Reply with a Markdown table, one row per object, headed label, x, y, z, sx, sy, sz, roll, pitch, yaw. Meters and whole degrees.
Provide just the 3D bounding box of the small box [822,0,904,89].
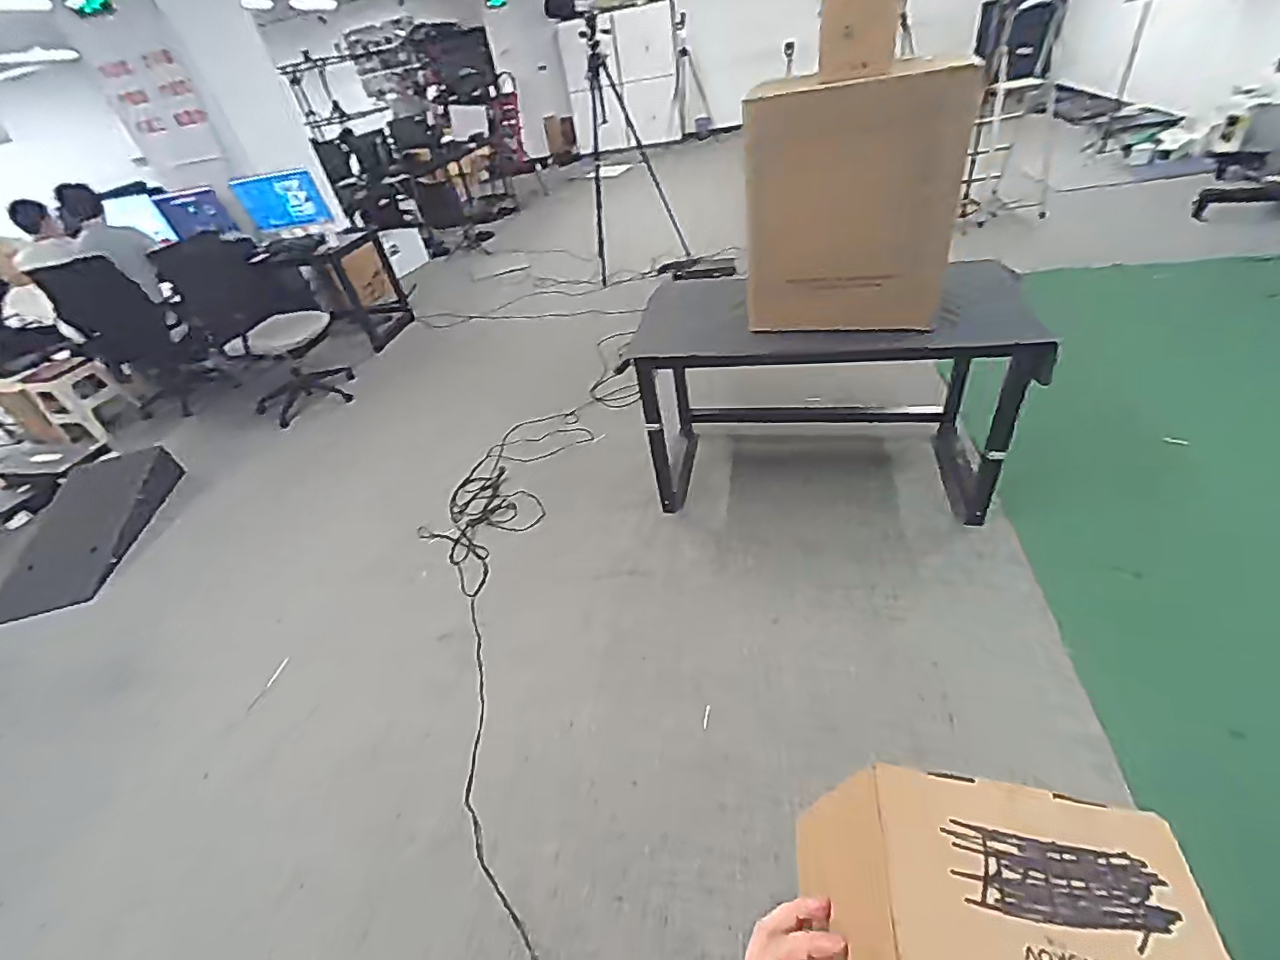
| label | x | y | z | sx | sy | sz | roll | pitch | yaw |
| --- | --- | --- | --- | --- | --- | --- | --- | --- | --- |
| small box | 0.527 | -1.045 | 1.278 | 0.168 | 0.176 | 0.179 | 7 | 44 | 22 |
